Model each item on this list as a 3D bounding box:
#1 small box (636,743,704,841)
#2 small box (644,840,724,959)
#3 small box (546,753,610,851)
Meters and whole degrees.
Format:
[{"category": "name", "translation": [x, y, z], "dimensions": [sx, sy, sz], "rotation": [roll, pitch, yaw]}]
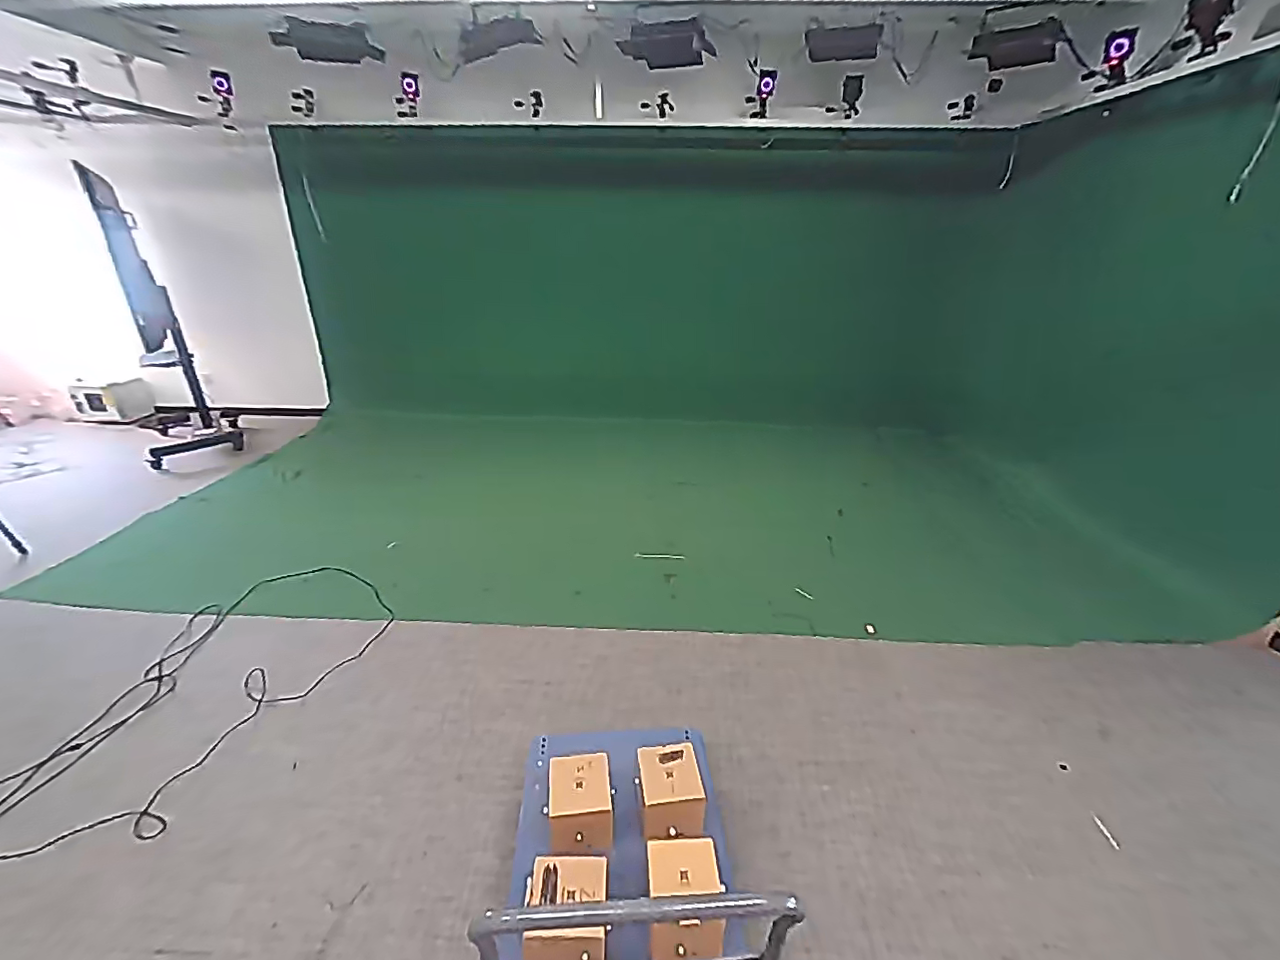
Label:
[{"category": "small box", "translation": [0.078, 0.889, 1.541], "dimensions": [0.168, 0.176, 0.179], "rotation": [-3, 26, -7]}, {"category": "small box", "translation": [0.098, 1.004, 1.297], "dimensions": [0.168, 0.176, 0.179], "rotation": [0, 25, -3]}, {"category": "small box", "translation": [-0.171, 0.900, 1.506], "dimensions": [0.168, 0.176, 0.179], "rotation": [-2, 25, -8]}]
